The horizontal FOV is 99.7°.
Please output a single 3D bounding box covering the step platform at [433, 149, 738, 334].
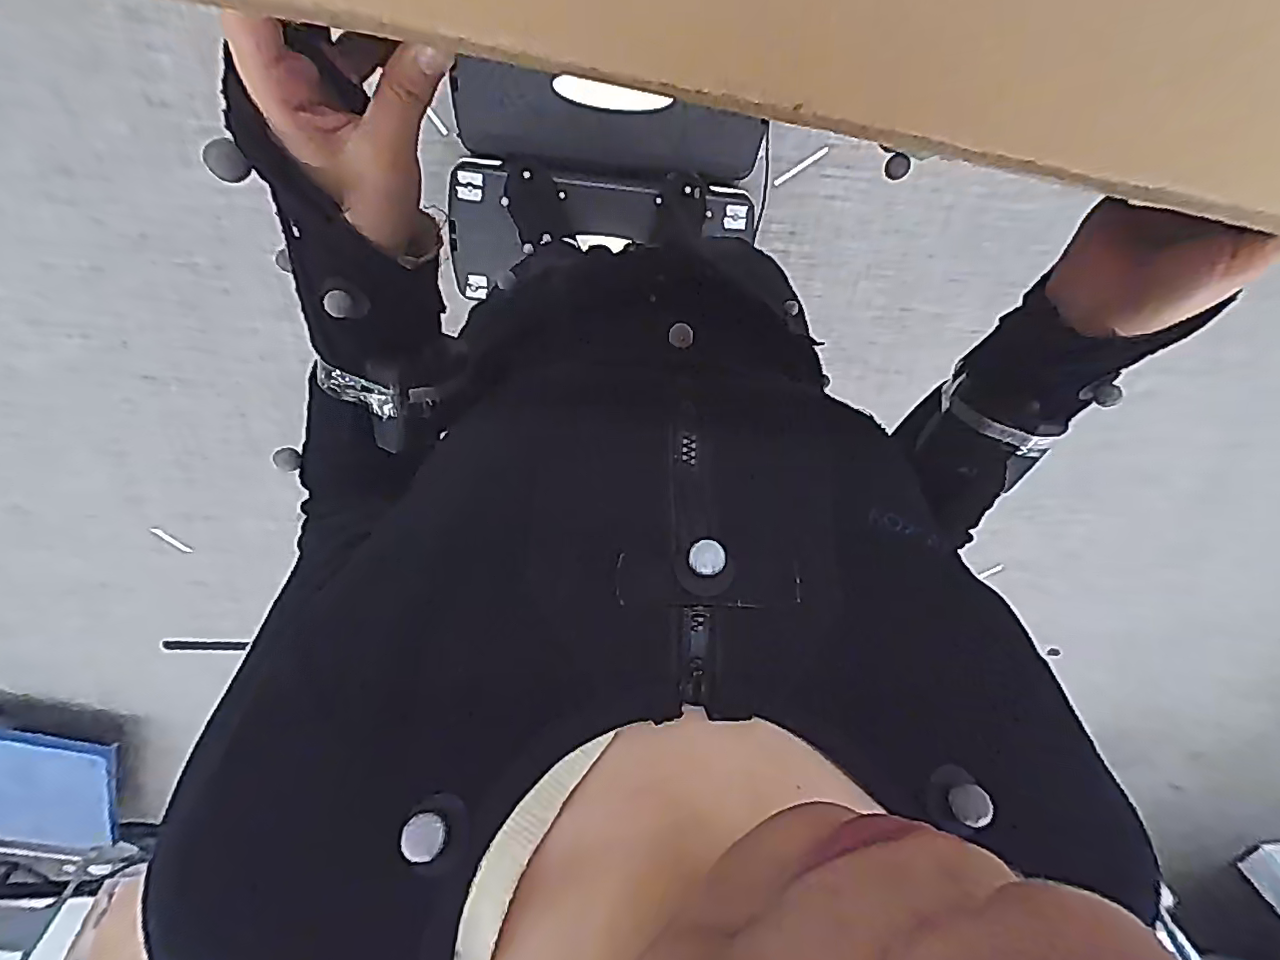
[{"bbox_3d":[-0.121,-0.548,1.267,0.684,0.204,0.286,8,122,-8],"label":"step platform"}]
